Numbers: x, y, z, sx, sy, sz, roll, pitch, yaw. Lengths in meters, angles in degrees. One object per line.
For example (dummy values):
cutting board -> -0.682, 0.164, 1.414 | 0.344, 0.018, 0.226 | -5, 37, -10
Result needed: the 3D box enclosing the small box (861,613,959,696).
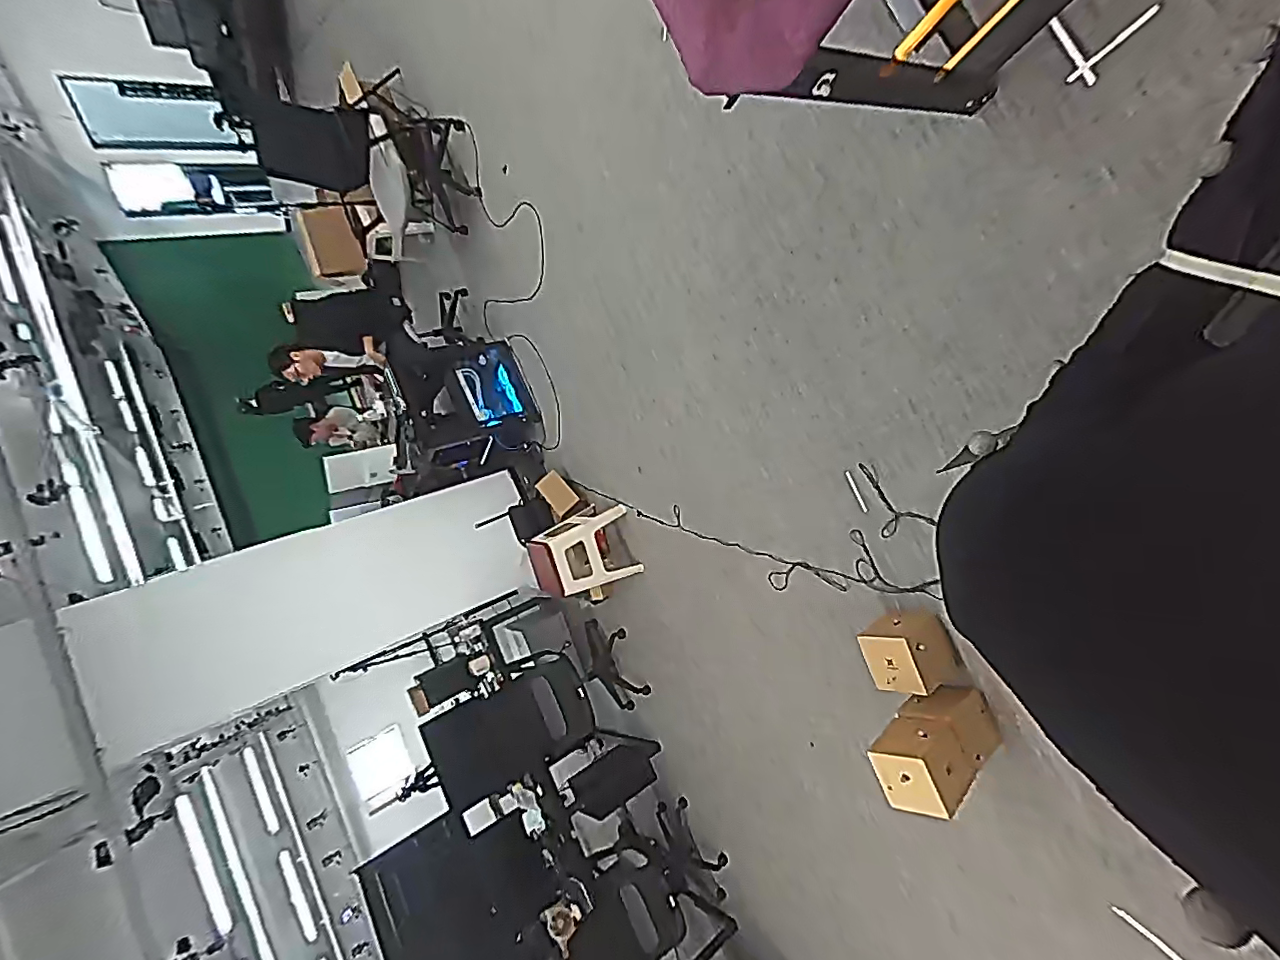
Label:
small box -> 0.792, 0.502, 1.586 | 0.168, 0.176, 0.179 | -23, 89, 59
